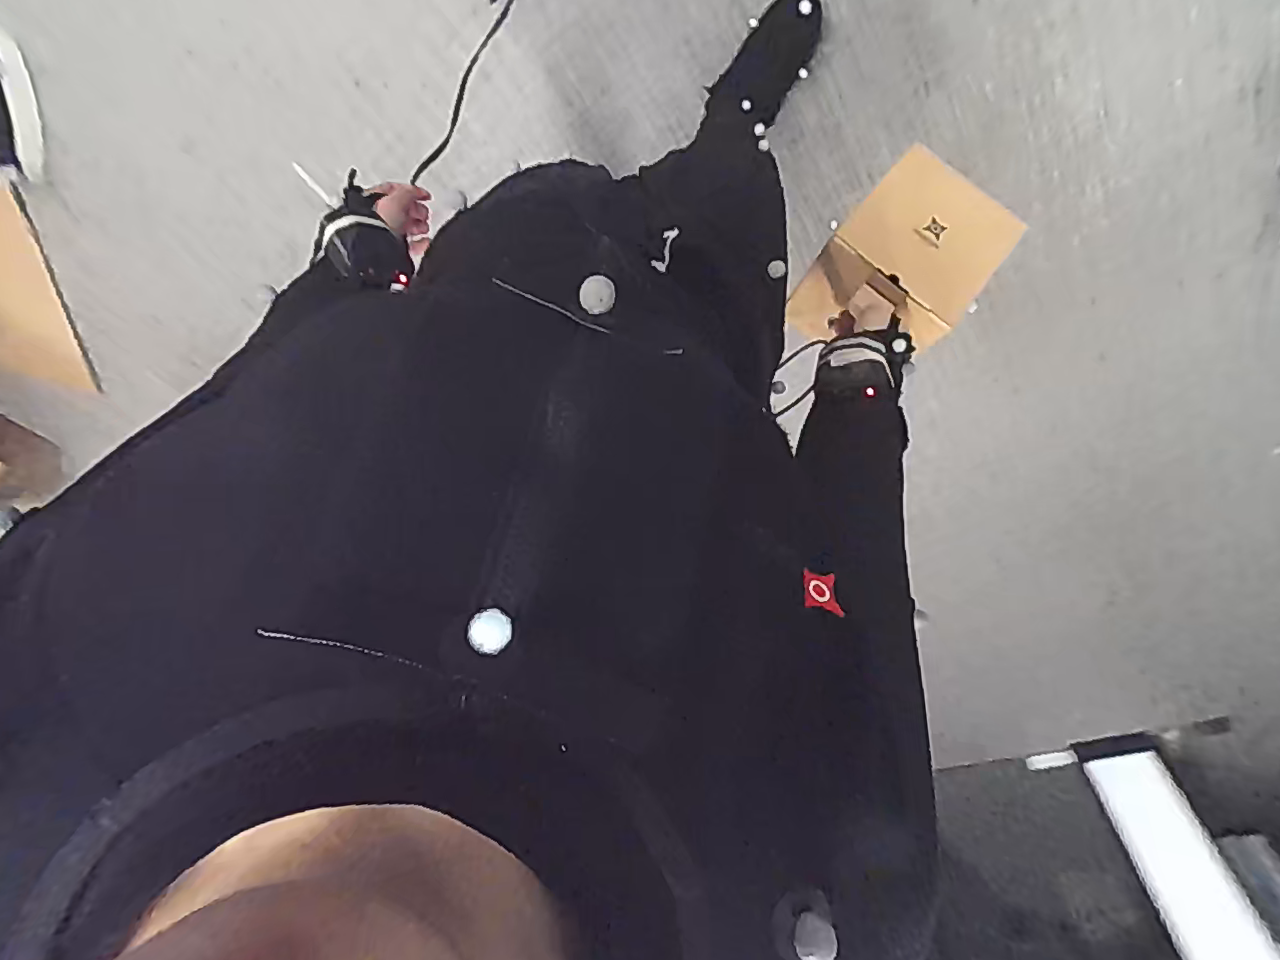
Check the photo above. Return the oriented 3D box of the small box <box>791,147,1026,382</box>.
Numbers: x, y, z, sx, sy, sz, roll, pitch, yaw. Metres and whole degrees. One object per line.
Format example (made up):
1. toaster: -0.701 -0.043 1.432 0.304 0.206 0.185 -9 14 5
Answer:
1. small box: 0.321 -0.258 0.683 0.168 0.179 0.176 39 167 4
